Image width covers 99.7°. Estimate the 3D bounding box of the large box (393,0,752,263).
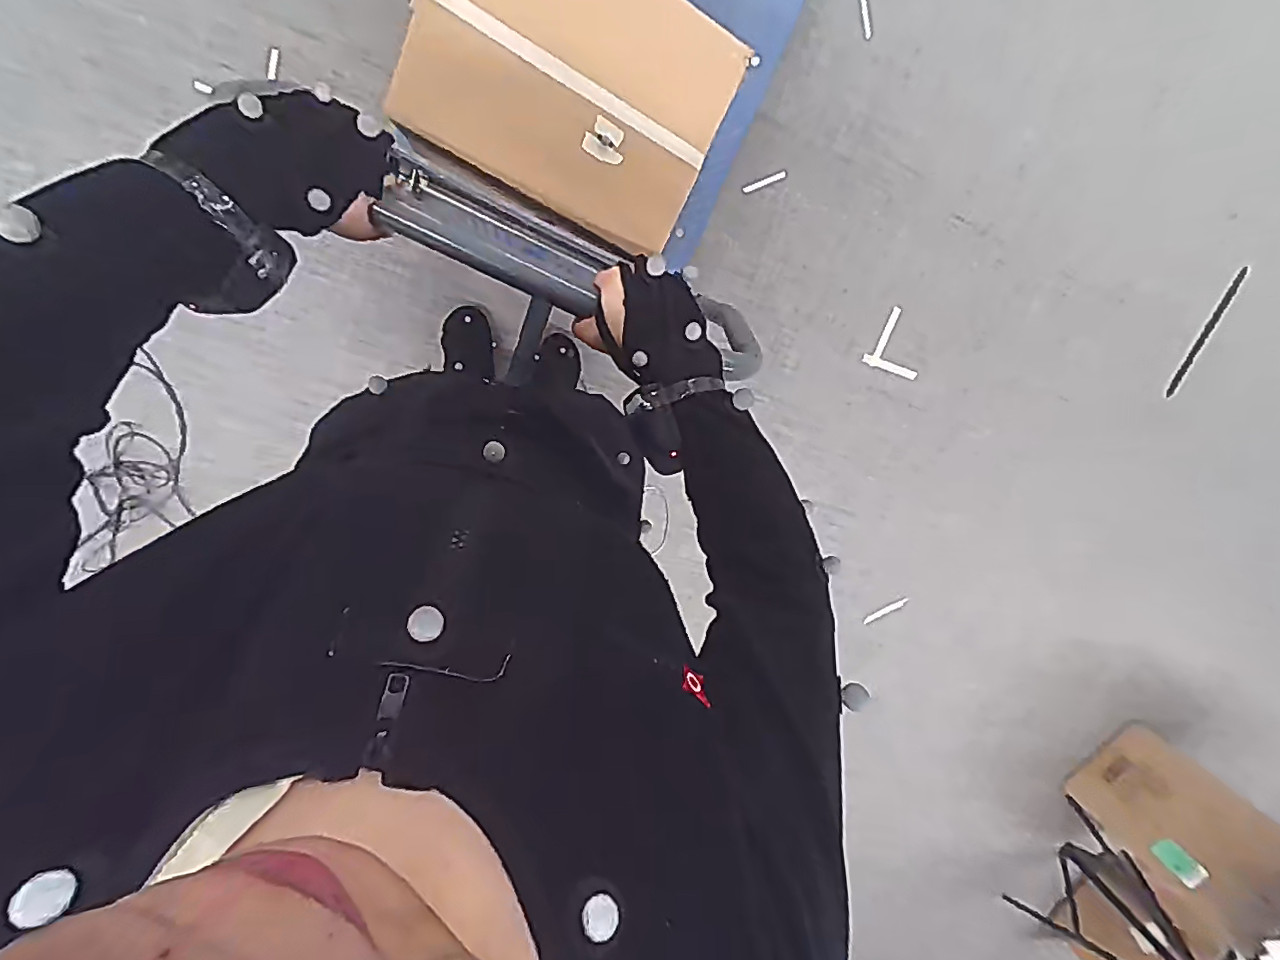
[{"bbox_3d":[-0.113,-0.585,0.856,0.408,0.320,0.320,22,105,-19],"label":"large box"}]
